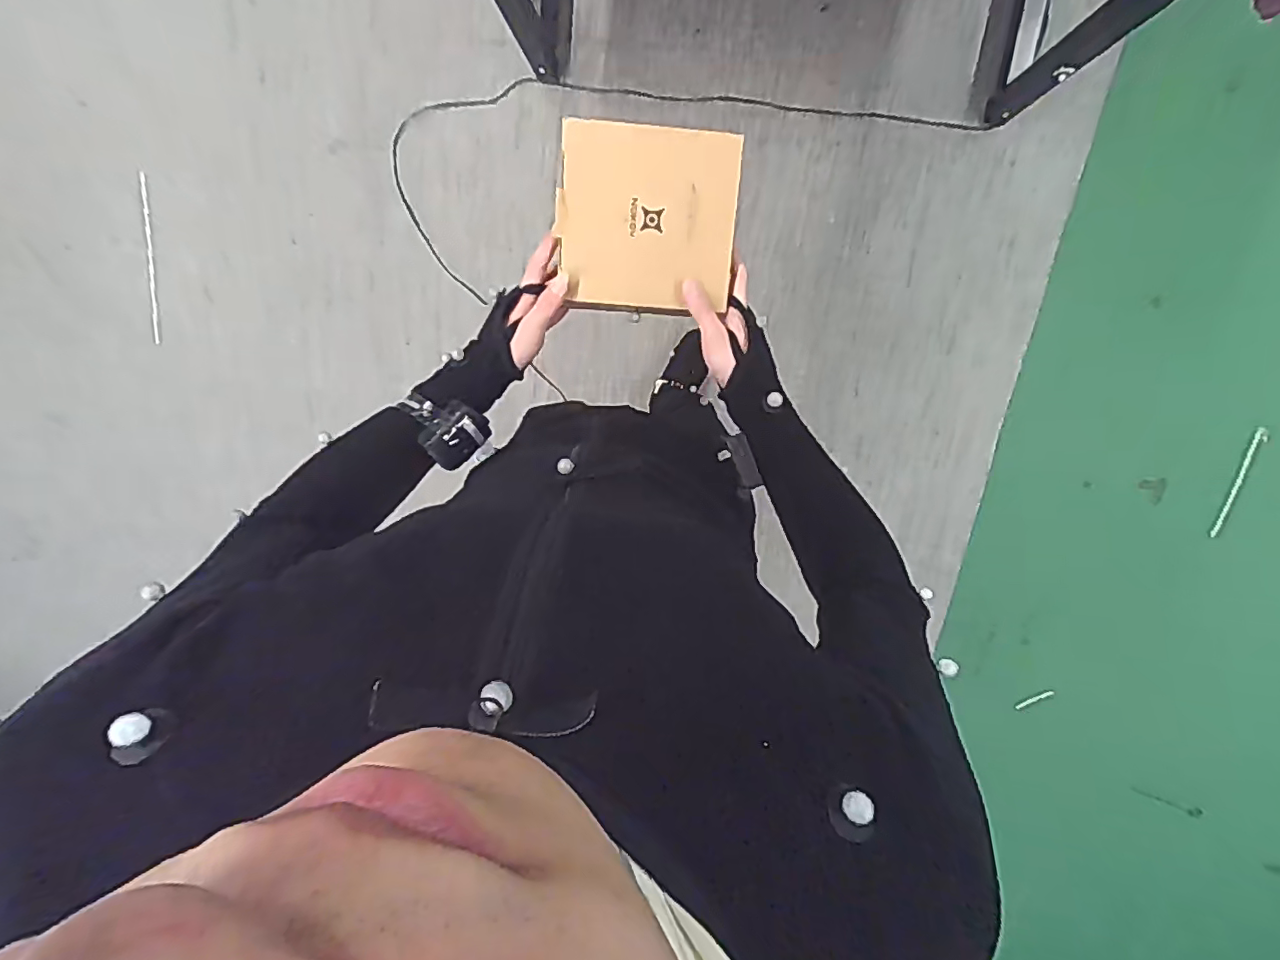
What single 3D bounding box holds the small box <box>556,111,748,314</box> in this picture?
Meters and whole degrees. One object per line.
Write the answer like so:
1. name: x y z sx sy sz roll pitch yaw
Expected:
1. small box: 0.006 -0.280 0.604 0.179 0.176 0.168 4 105 -4
